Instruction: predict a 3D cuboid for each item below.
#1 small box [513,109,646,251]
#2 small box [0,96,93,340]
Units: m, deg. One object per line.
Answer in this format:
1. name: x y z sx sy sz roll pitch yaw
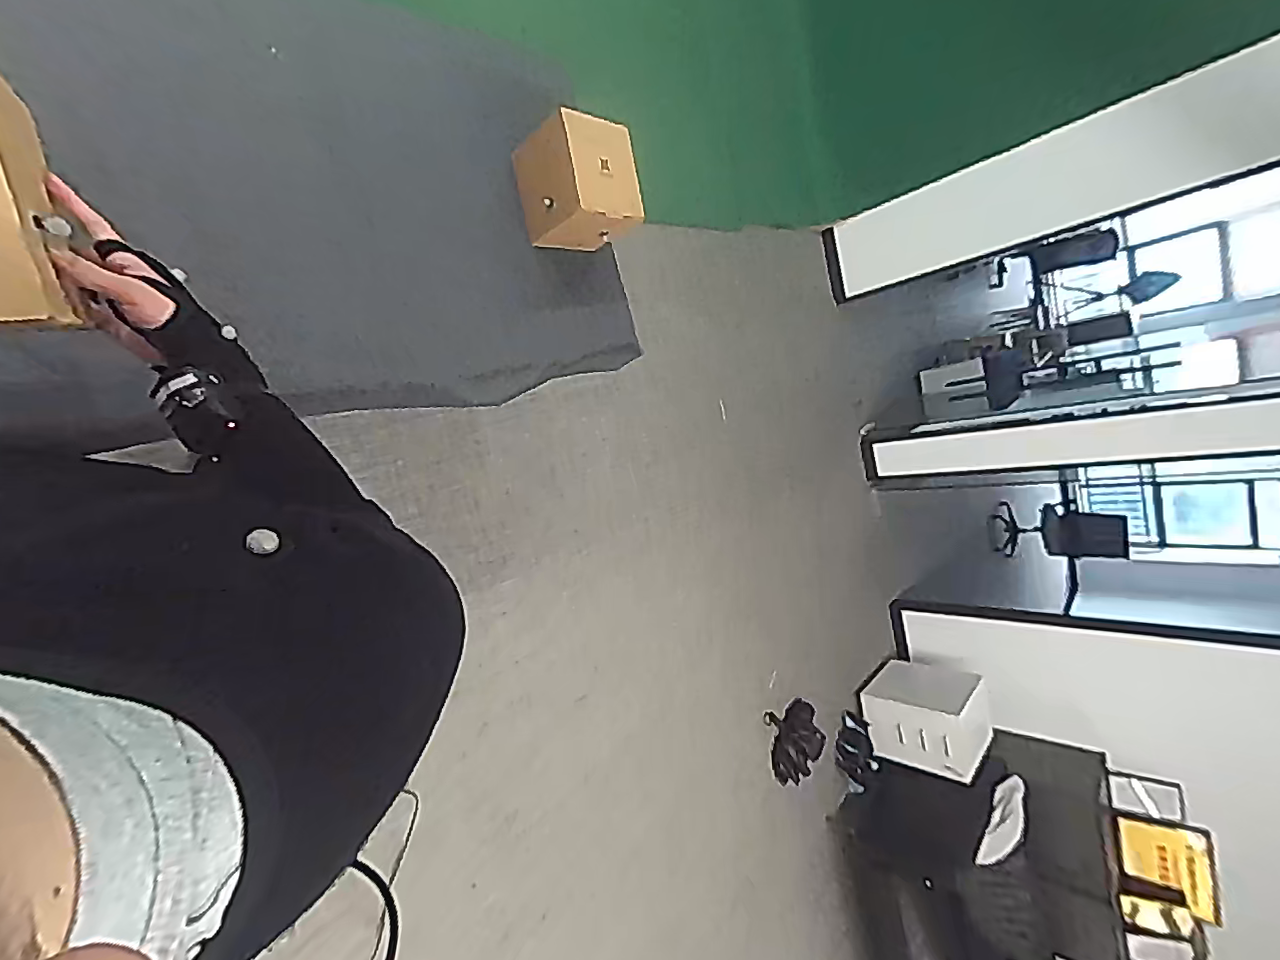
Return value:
1. small box: -0.117 -0.557 1.036 0.168 0.176 0.179 -19 98 -44
2. small box: -0.502 -0.179 0.351 0.168 0.176 0.179 -16 110 -36
